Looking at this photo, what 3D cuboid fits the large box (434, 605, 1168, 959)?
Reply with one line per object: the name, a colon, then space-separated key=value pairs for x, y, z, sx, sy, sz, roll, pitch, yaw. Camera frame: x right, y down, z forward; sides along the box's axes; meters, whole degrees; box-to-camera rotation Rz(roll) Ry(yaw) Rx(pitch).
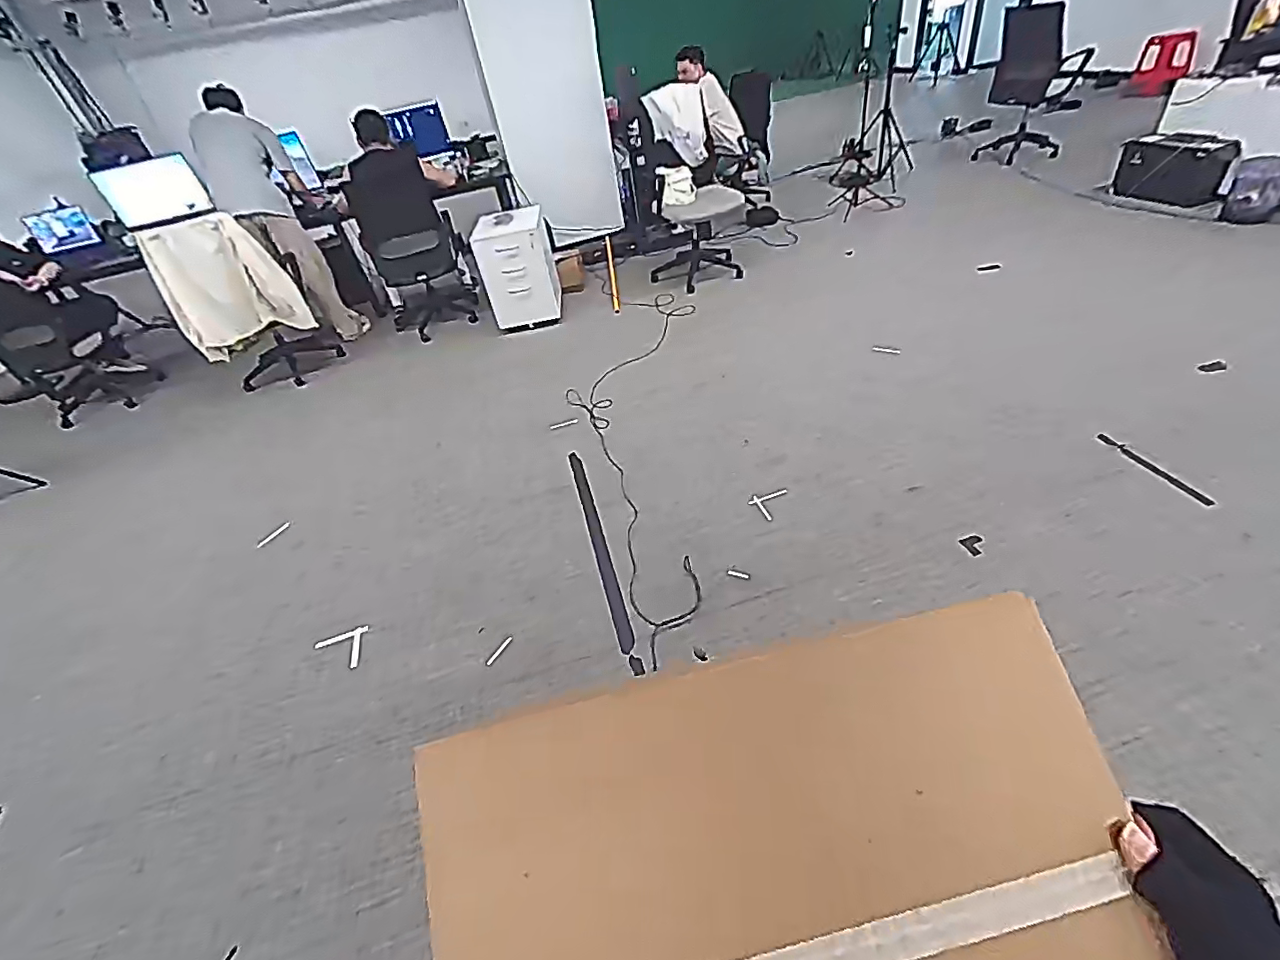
large box: x=0.101 y=0.317 z=0.453 sx=0.408 sy=0.320 sz=0.320 roll=-14 pitch=72 yaw=-3
